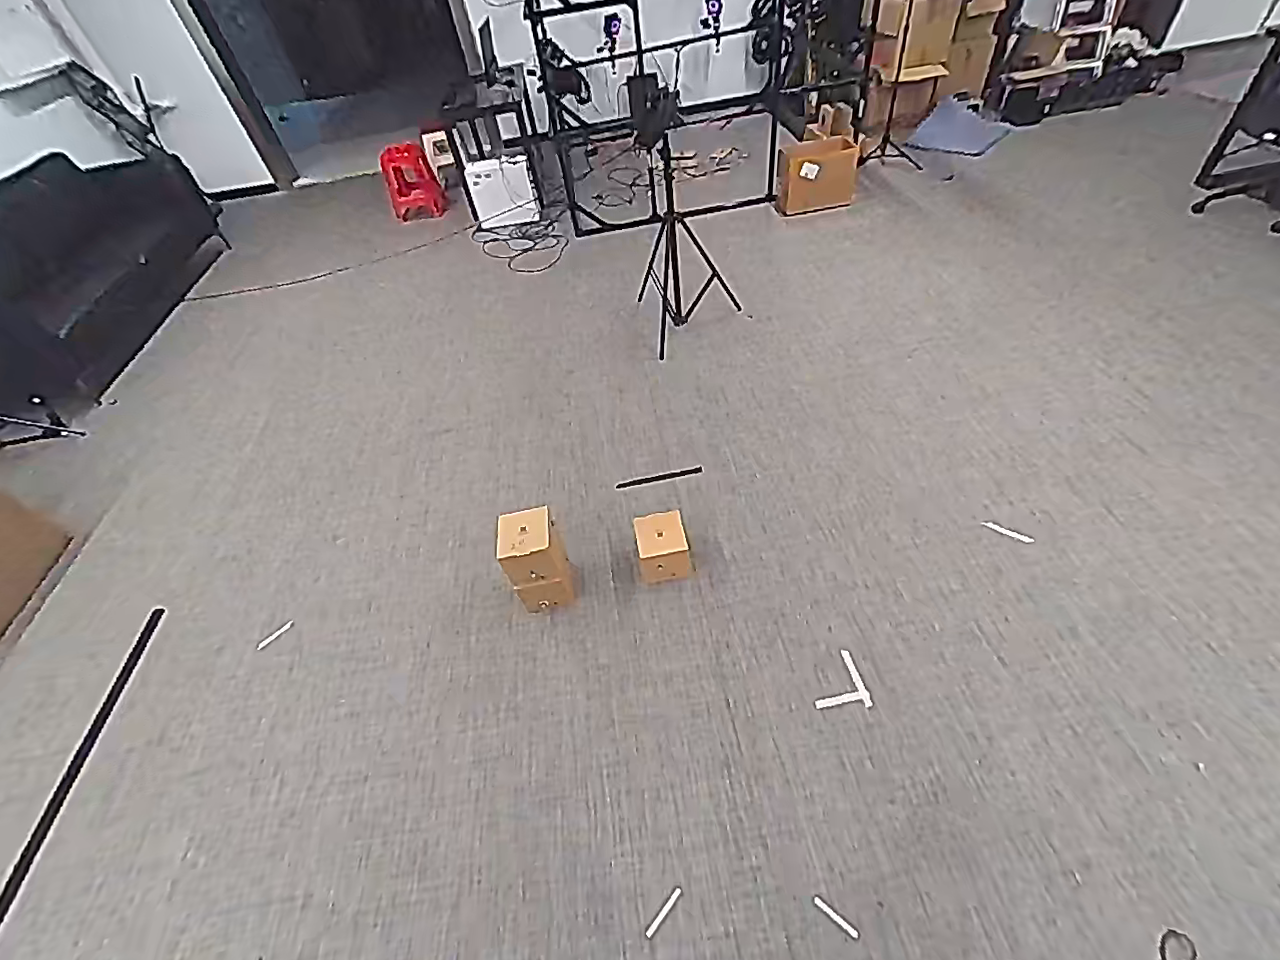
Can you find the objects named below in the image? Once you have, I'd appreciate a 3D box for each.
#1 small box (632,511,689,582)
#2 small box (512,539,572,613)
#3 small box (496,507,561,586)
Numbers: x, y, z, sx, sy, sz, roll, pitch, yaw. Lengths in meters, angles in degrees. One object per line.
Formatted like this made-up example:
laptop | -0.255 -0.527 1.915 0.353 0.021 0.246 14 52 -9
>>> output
small box | 0.072 0.240 1.895 0.168 0.176 0.179 -11 46 -1
small box | -0.336 0.335 1.877 0.168 0.176 0.179 -12 47 1
small box | -0.360 0.218 1.763 0.168 0.176 0.179 -12 47 1
